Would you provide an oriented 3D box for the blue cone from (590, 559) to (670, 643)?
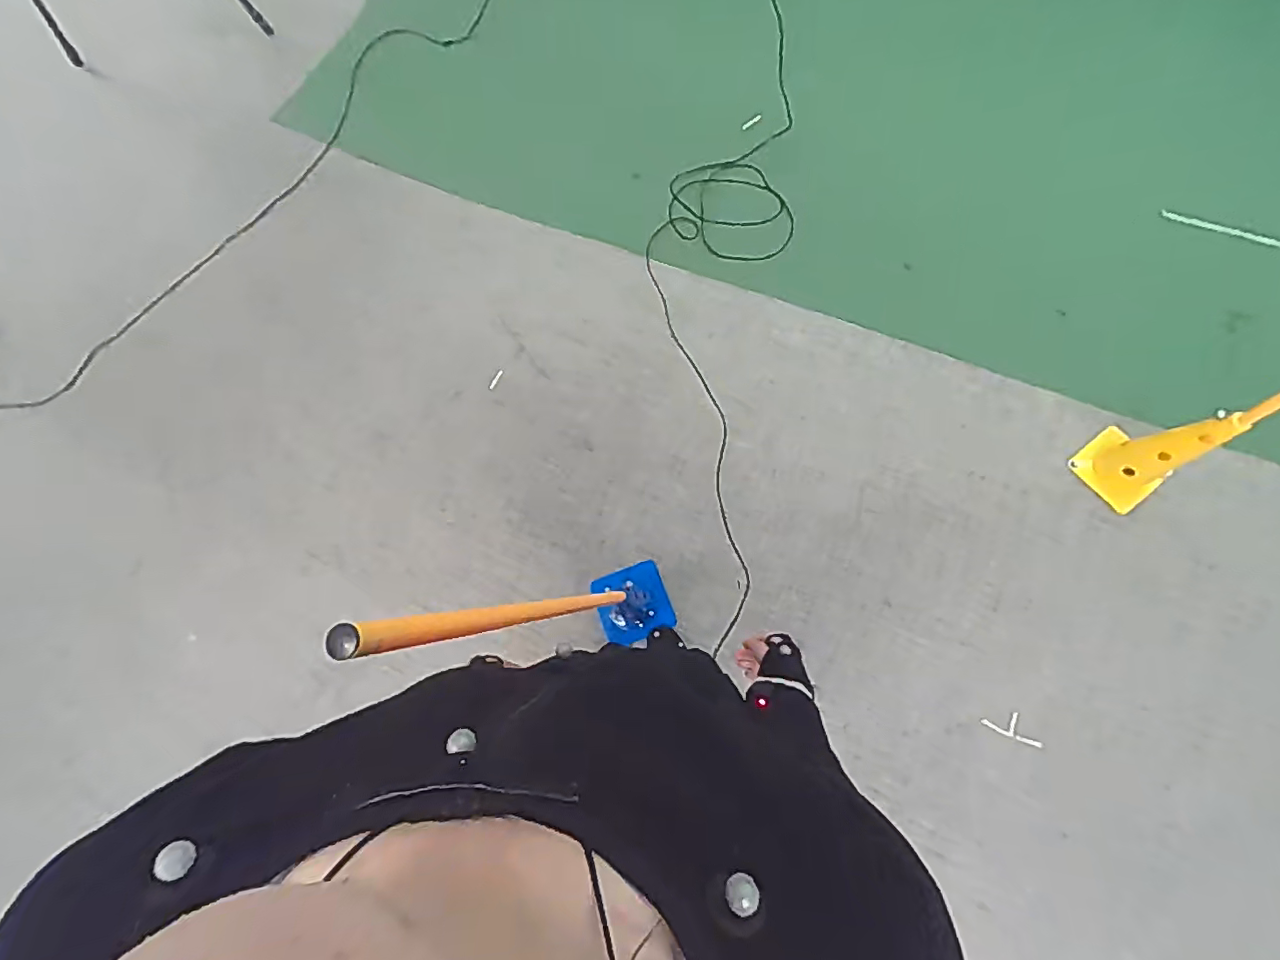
[{"bbox_3d":[-0.039,0.295,1.331,0.193,0.380,0.192,-22,75,-2],"label":"blue cone"}]
